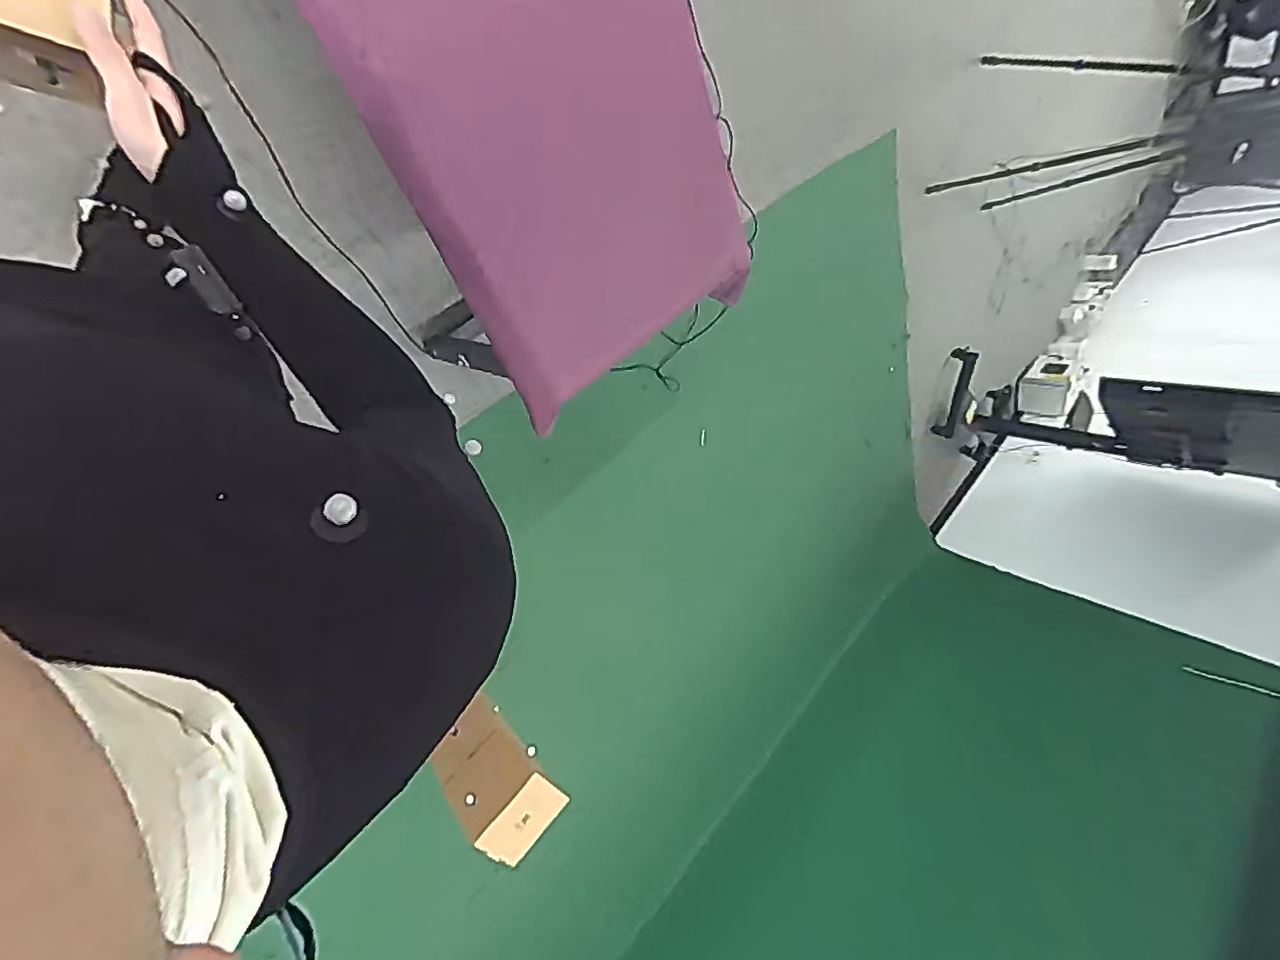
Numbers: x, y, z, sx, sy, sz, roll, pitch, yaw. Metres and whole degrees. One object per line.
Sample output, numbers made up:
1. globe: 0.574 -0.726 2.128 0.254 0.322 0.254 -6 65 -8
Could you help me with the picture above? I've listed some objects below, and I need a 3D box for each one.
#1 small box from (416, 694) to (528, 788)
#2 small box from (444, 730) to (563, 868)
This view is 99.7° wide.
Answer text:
1. small box: -0.416 0.659 1.328 0.168 0.176 0.179 -44 129 -21
2. small box: -0.312 0.706 1.210 0.179 0.176 0.168 -44 131 -22
